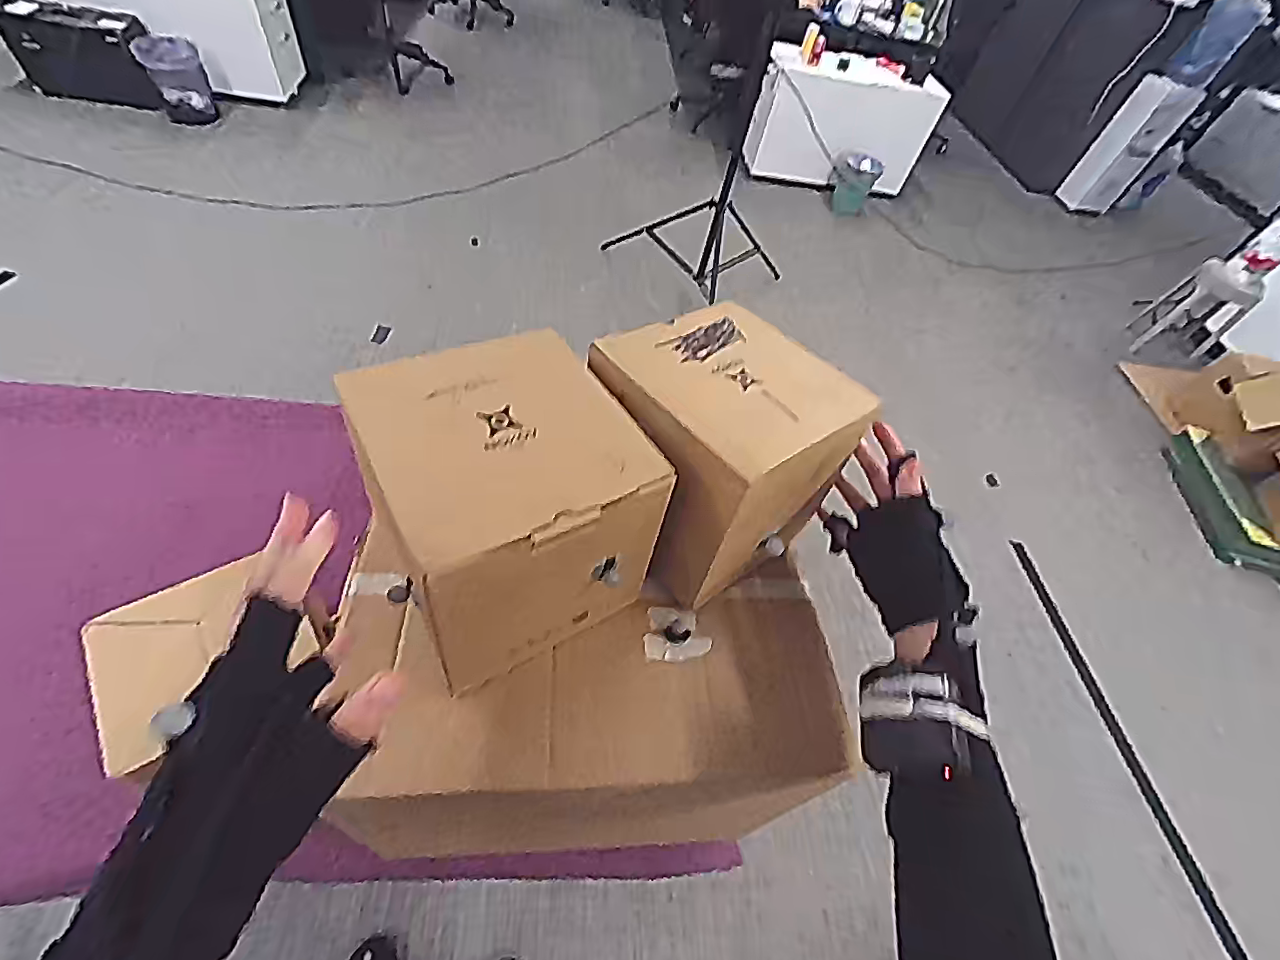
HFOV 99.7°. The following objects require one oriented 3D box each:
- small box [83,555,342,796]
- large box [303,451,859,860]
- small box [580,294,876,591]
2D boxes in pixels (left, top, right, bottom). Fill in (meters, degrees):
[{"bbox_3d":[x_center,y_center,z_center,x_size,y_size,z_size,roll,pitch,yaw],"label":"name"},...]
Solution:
[{"bbox_3d":[-0.431,0.206,0.586,0.179,0.176,0.168,-26,61,-26],"label":"small box"},{"bbox_3d":[-0.062,0.190,0.585,0.408,0.320,0.320,3,49,-10],"label":"large box"},{"bbox_3d":[0.059,-0.037,0.480,0.168,0.176,0.179,-25,56,-30],"label":"small box"}]
